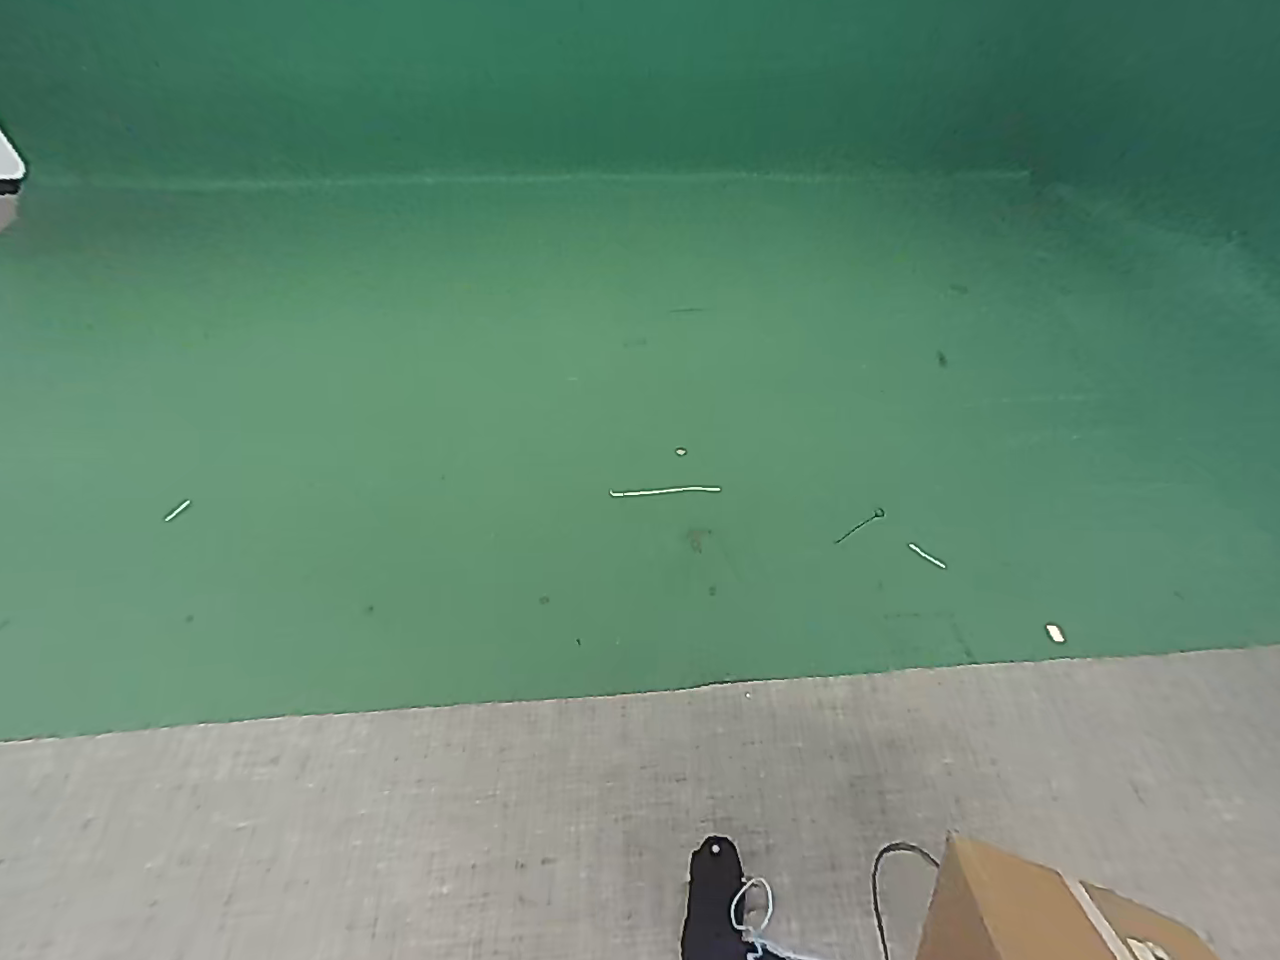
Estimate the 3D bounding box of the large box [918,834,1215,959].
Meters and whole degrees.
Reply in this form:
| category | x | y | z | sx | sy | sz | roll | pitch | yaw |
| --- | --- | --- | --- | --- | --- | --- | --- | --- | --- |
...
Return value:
| category | x | y | z | sx | sy | sz | roll | pitch | yaw |
| --- | --- | --- | --- | --- | --- | --- | --- | --- | --- |
| large box | 0.529 | 0.724 | 0.617 | 0.320 | 0.408 | 0.320 | 15 | 91 | 18 |
